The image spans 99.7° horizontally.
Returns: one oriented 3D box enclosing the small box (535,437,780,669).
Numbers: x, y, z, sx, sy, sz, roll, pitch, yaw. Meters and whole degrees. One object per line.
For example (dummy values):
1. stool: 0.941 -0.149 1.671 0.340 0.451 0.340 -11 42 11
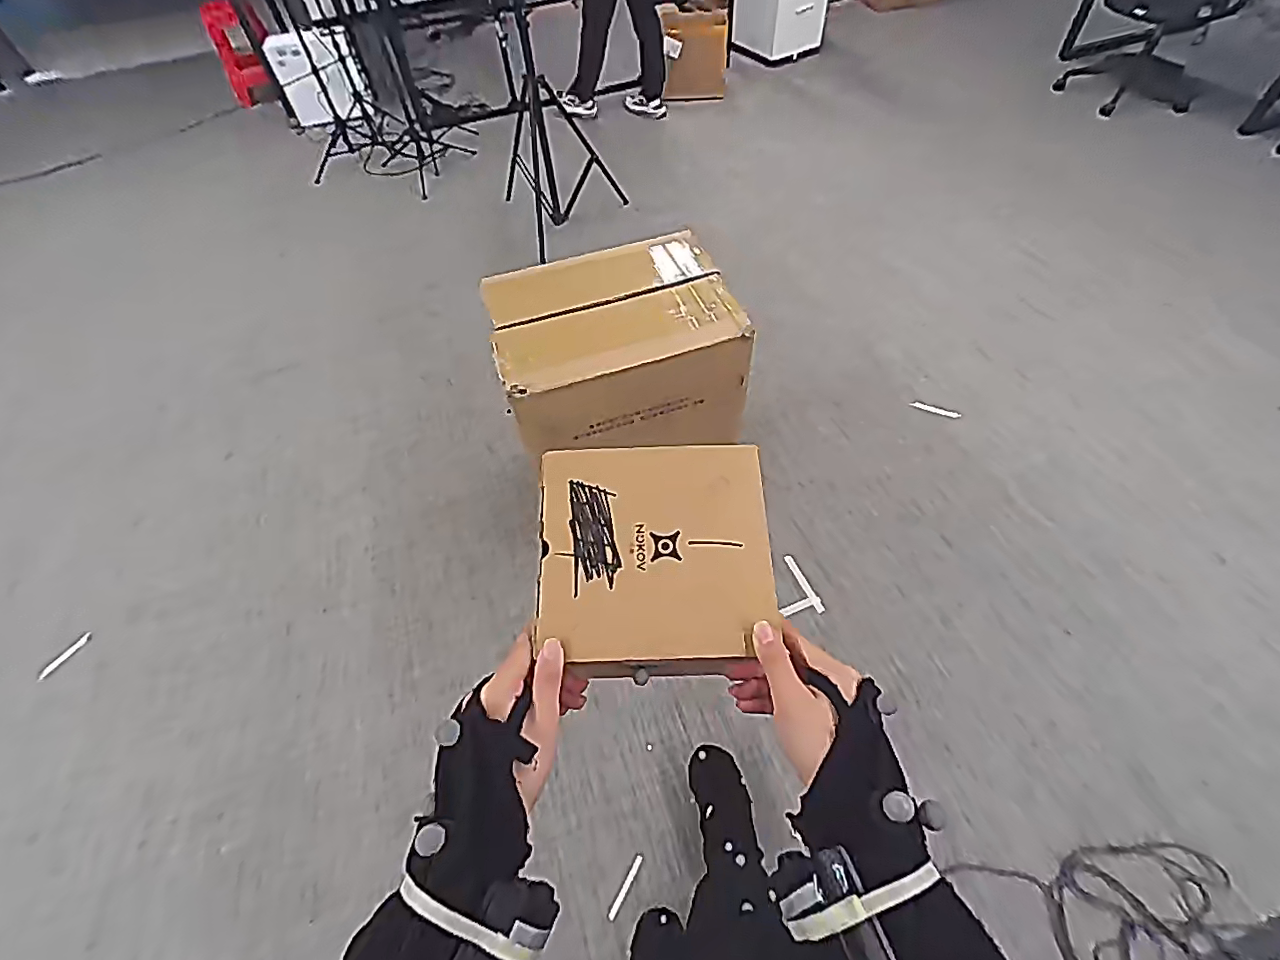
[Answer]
1. small box: 0.012 0.075 0.483 0.179 0.176 0.168 -2 66 -1
